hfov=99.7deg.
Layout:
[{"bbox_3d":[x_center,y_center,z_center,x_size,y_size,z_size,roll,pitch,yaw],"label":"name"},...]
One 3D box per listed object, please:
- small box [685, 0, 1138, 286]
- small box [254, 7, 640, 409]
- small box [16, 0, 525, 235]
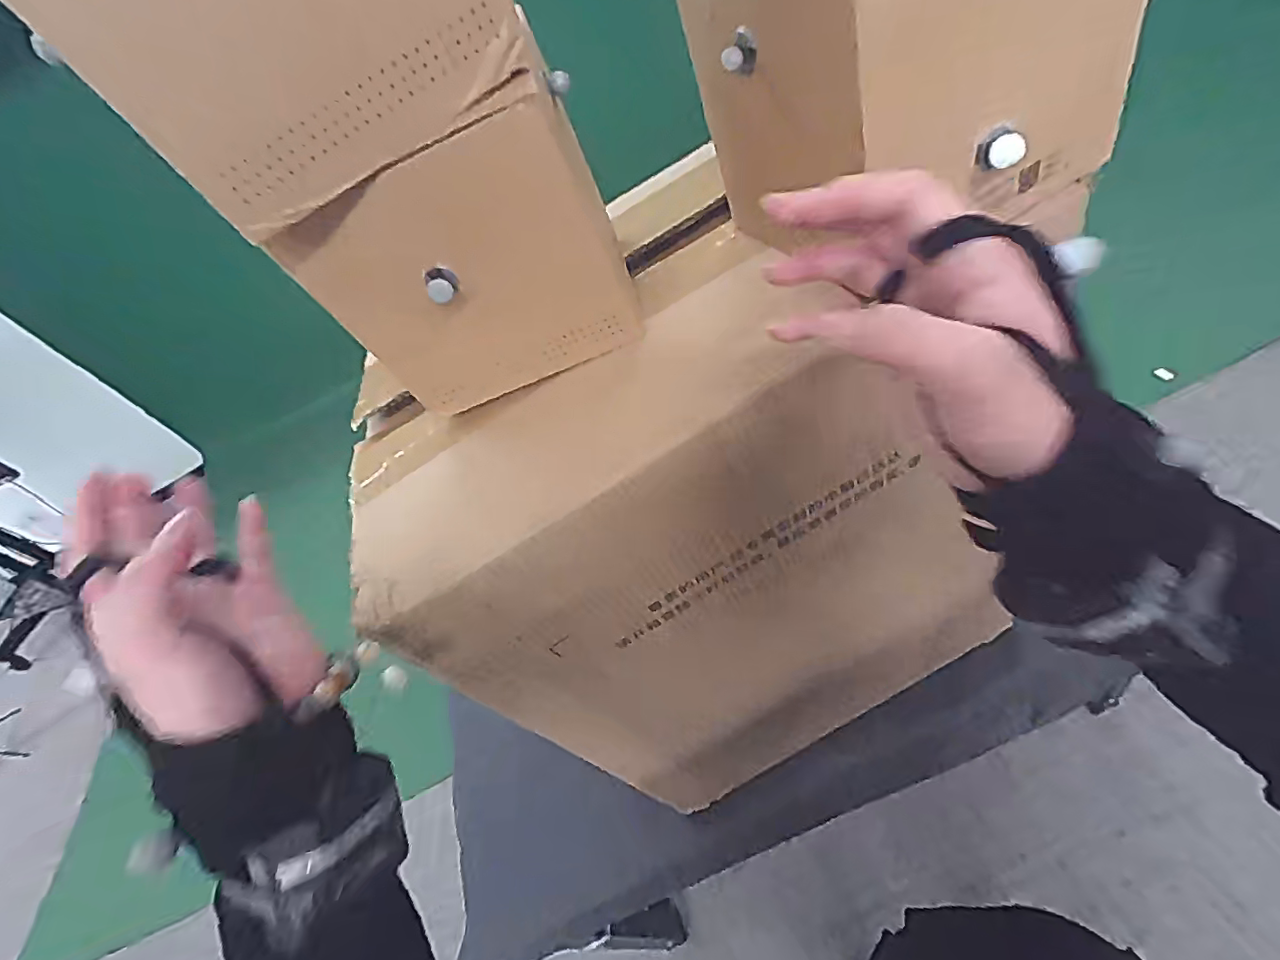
[{"bbox_3d":[0.145,-0.246,0.324,0.168,0.176,0.179,-30,45,0],"label":"small box"},{"bbox_3d":[-0.119,-0.180,0.390,0.179,0.176,0.168,-20,54,10],"label":"small box"},{"bbox_3d":[-0.188,-0.257,0.265,0.179,0.176,0.168,-34,53,-2],"label":"small box"}]
